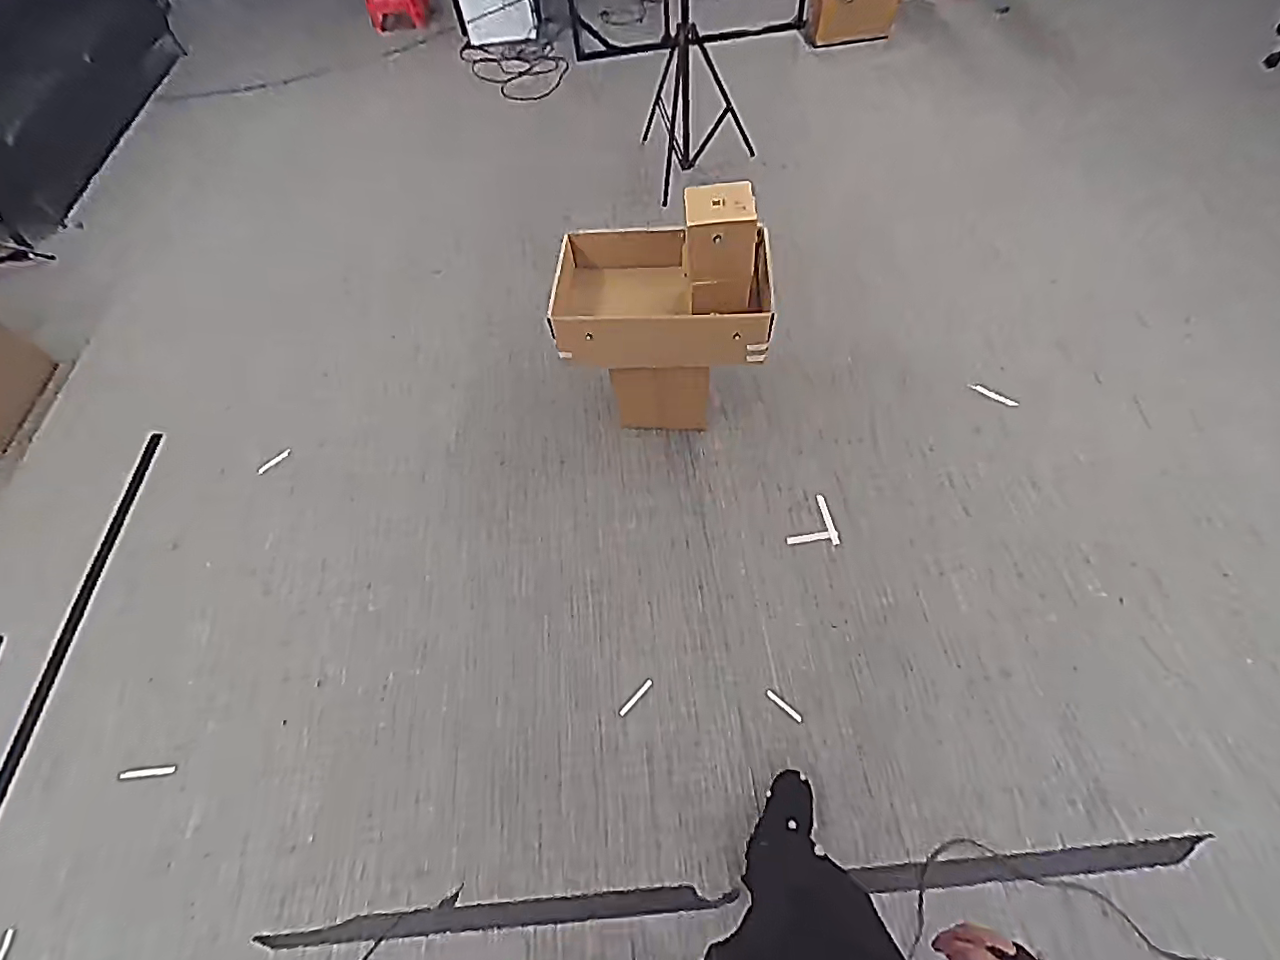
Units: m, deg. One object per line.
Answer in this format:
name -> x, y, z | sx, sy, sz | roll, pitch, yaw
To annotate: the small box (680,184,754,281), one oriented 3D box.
small box -> 0.201, -0.644, 1.421 | 0.179, 0.176, 0.168 | -3, 59, 5
